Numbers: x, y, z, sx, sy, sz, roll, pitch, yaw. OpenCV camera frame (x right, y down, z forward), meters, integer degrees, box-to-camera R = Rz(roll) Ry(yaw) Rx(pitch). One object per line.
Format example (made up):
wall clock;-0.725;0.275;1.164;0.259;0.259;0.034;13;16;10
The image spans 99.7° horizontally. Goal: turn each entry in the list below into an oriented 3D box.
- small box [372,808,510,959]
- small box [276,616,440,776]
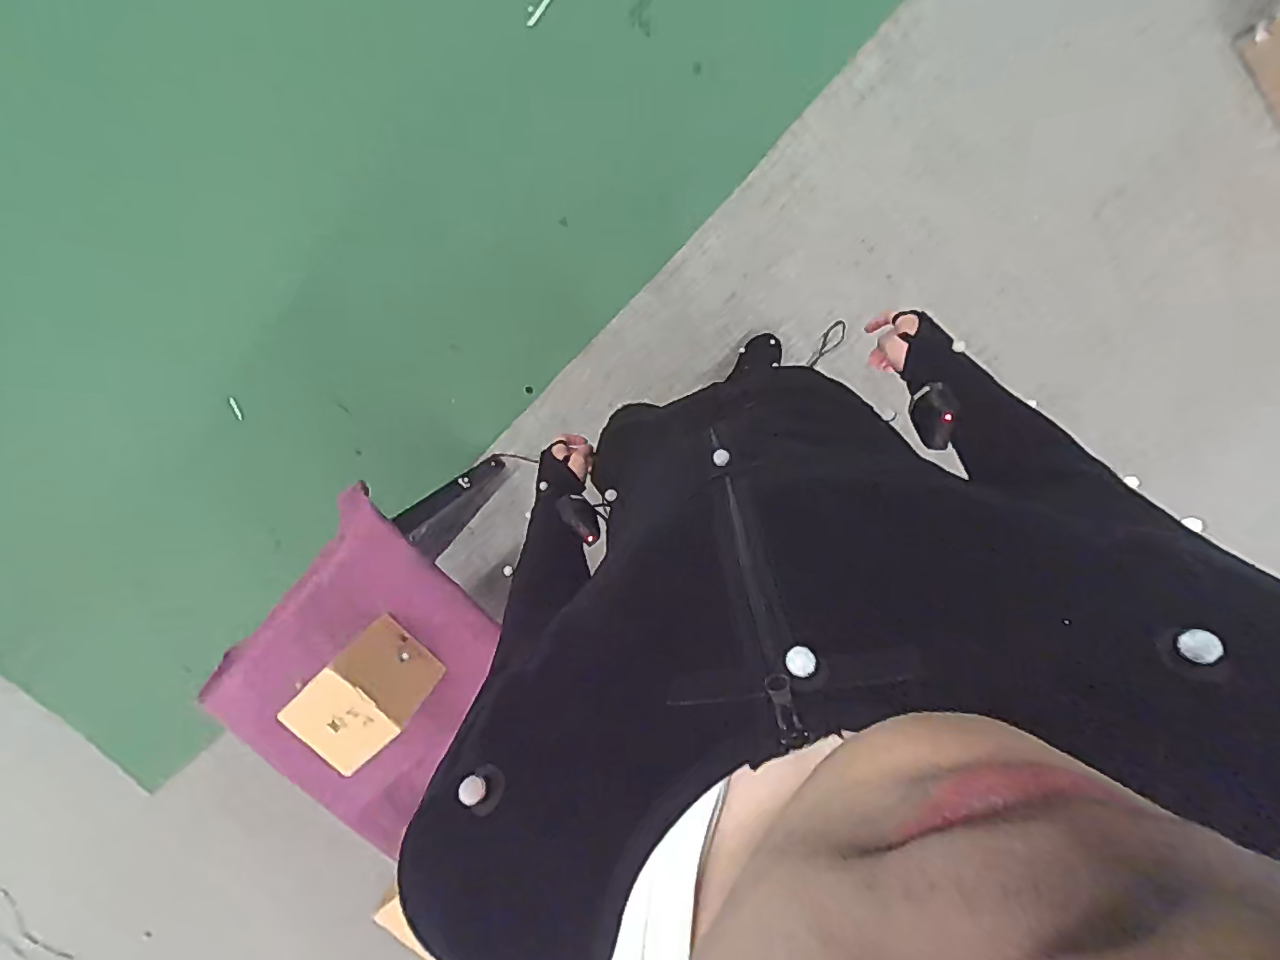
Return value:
small box;-0.400;0.833;1.117;0.179;0.176;0.168;-43;97;16
small box;-0.508;0.391;1.000;0.179;0.176;0.168;-42;98;17
